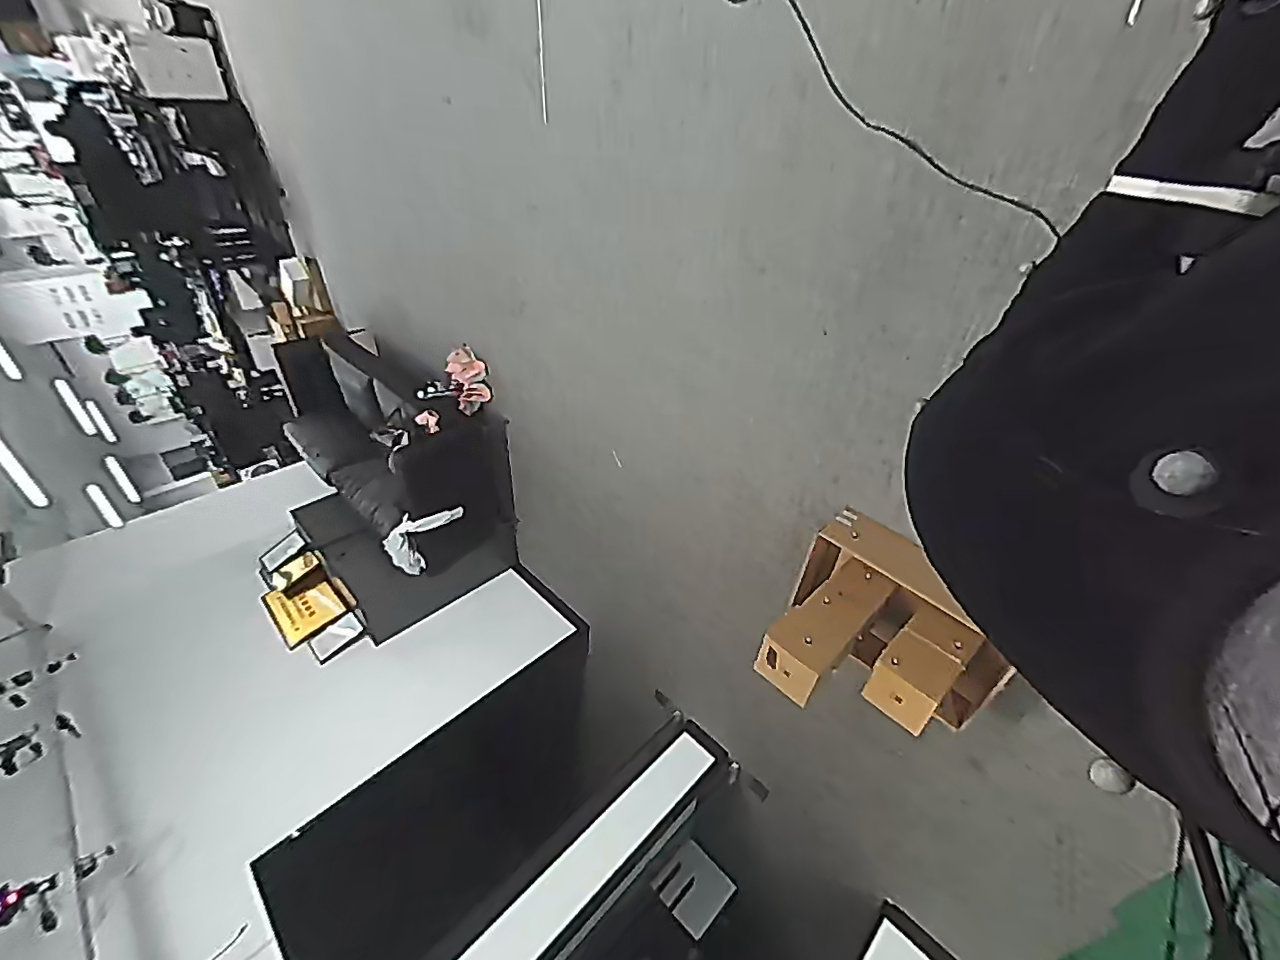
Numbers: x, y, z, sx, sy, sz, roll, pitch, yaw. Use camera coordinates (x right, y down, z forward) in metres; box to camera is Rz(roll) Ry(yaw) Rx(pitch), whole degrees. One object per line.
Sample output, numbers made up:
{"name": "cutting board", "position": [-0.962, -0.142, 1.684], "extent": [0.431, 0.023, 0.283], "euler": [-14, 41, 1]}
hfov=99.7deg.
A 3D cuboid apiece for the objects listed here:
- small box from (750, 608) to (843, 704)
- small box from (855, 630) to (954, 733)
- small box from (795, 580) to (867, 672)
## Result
{"name": "small box", "position": [0.451, 0.498, 1.567], "extent": [0.179, 0.176, 0.168], "euler": [34, 135, 31]}
{"name": "small box", "position": [0.749, 0.561, 1.527], "extent": [0.179, 0.176, 0.168], "euler": [34, 135, 35]}
{"name": "small box", "position": [0.571, 0.443, 1.665], "extent": [0.168, 0.176, 0.179], "euler": [35, 136, 32]}
